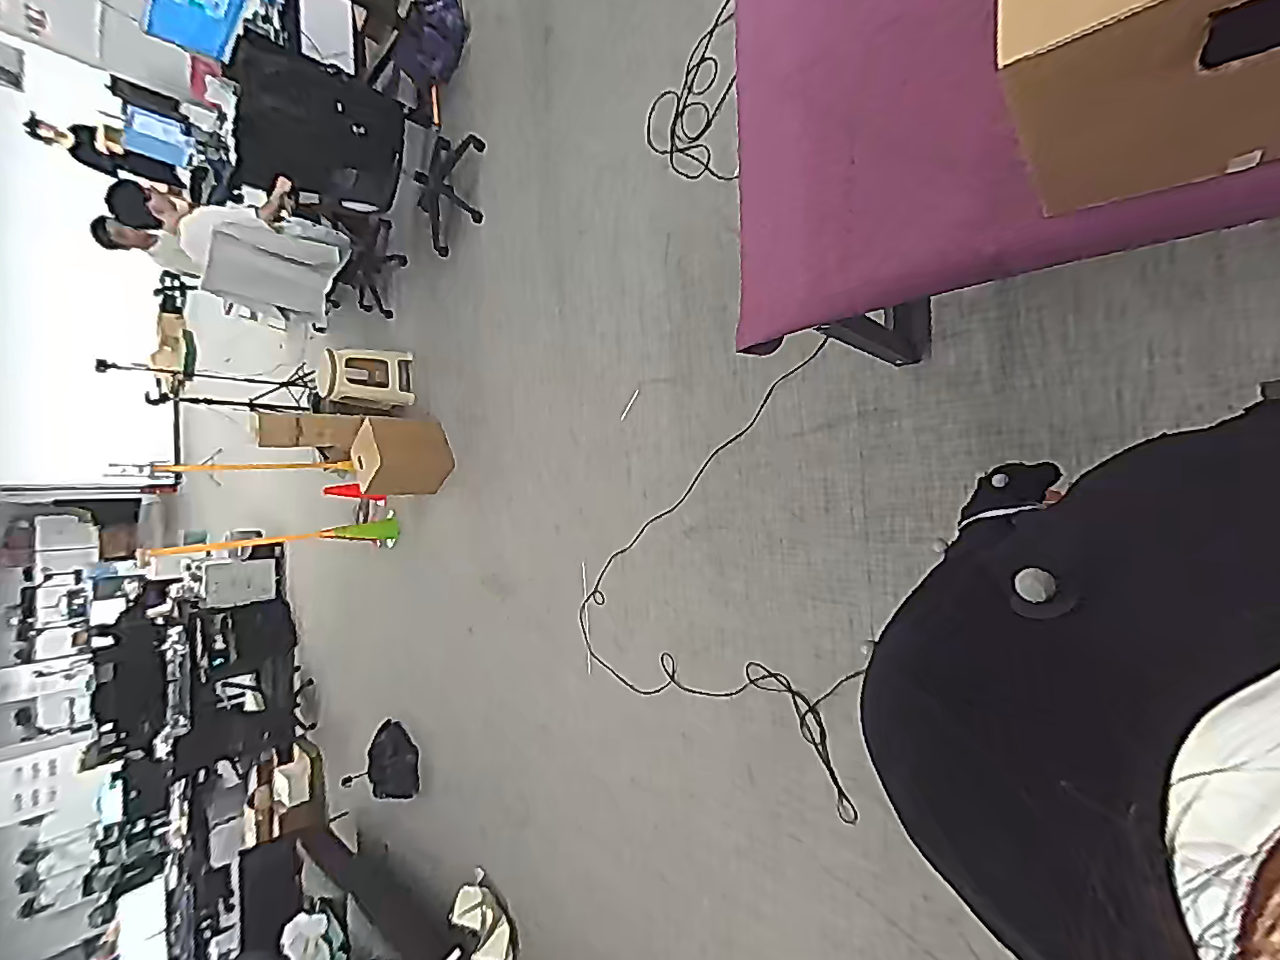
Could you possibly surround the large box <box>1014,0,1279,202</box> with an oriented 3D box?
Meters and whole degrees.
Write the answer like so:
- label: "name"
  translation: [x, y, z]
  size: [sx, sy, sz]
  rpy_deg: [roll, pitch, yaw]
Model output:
- label: "large box"
  translation: [0.499, -0.517, 0.425]
  size: [0.320, 0.320, 0.408]
  rpy_deg: [1, 91, 42]
